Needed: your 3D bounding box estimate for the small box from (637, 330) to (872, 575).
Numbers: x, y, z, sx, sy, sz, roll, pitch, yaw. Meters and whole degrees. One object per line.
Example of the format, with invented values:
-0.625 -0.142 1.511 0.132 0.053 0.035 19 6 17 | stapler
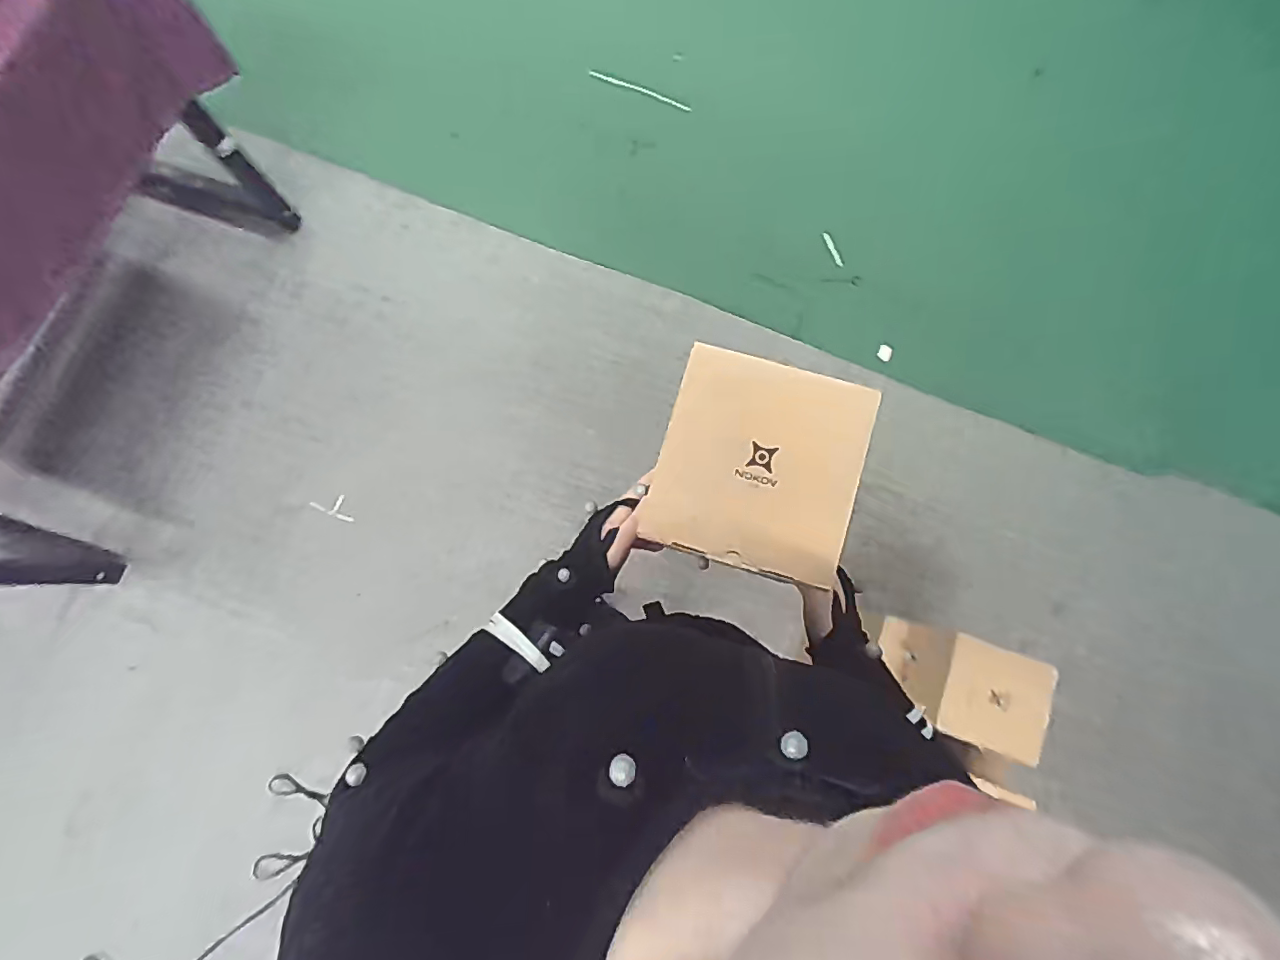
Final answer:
0.098 -0.016 0.533 0.168 0.176 0.179 16 84 4 | small box
